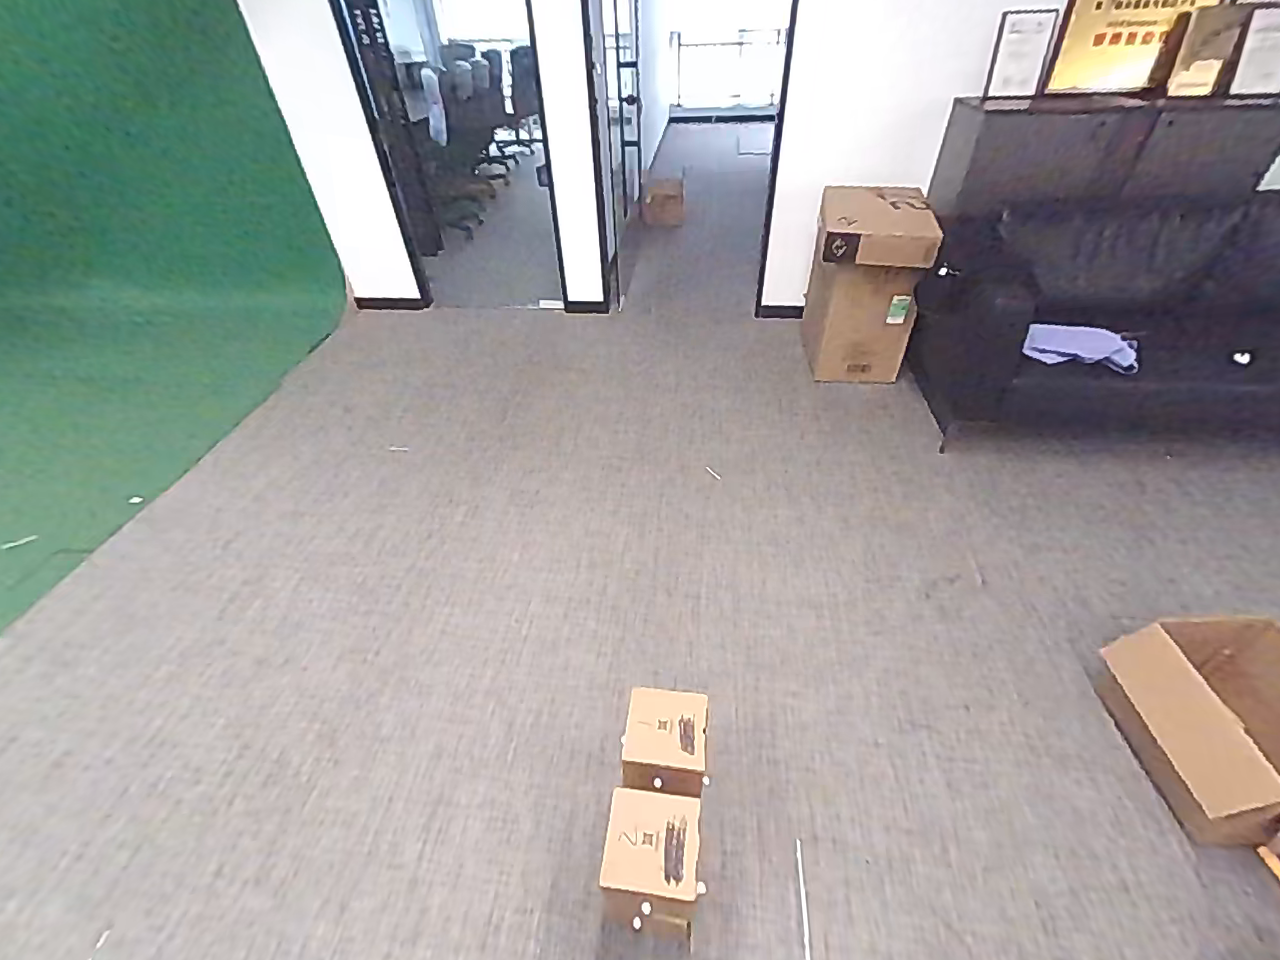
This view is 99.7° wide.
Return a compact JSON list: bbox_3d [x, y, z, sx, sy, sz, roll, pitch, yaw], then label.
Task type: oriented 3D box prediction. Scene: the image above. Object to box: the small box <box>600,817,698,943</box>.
[{"bbox_3d":[0.025,0.861,1.161,0.179,0.176,0.168,7,42,10],"label":"small box"}]
